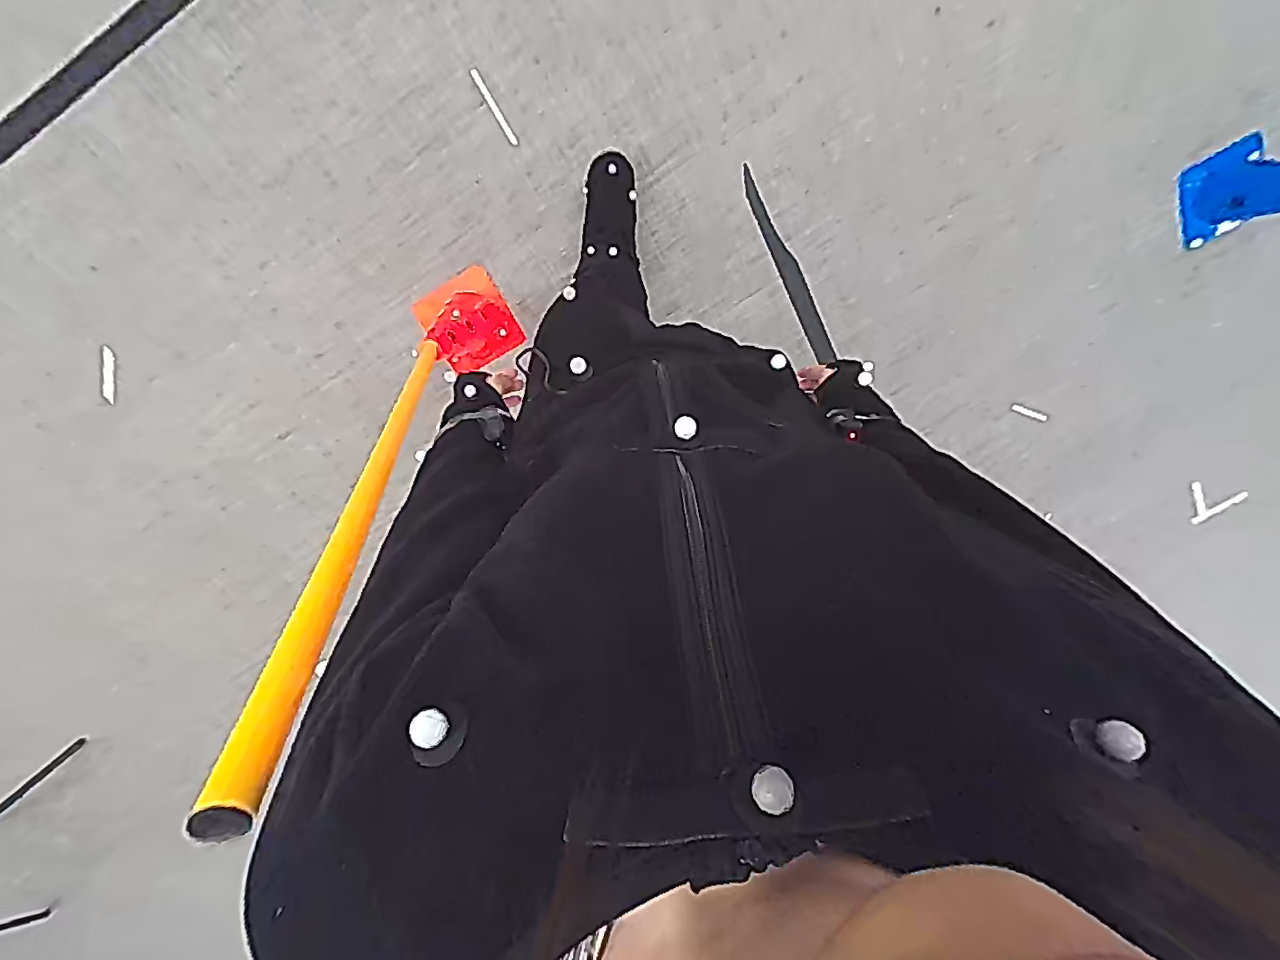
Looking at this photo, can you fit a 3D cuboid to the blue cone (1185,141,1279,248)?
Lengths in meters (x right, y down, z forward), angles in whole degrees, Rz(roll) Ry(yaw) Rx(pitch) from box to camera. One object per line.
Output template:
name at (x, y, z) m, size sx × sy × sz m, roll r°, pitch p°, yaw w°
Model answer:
blue cone at (1.431, -0.626, 1.160) m, size 0.193 × 0.380 × 0.192 m, roll -27°, pitch 114°, yaw 7°

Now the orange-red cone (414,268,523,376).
orange-red cone at (-0.386, -0.299, 1.108) m, size 0.198 × 0.360 × 0.199 m, roll -27°, pitch 112°, yaw 6°
